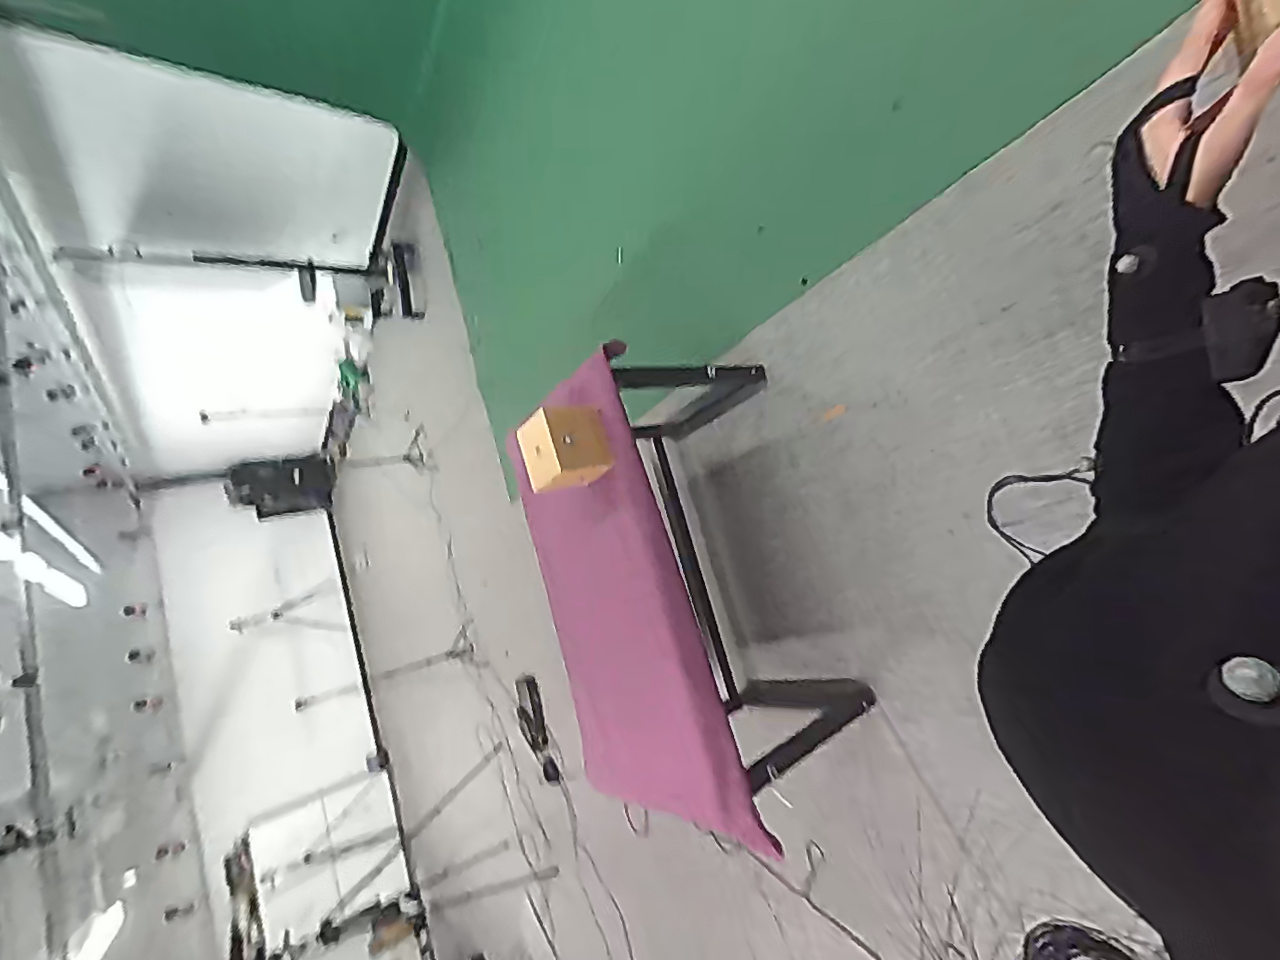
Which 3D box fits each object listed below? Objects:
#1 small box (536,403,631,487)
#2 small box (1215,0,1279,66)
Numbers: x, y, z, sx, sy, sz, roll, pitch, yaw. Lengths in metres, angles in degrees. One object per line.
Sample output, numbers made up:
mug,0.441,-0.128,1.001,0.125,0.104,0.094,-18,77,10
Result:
small box,-0.151,-0.097,1.454,0.168,0.176,0.179,-31,75,51
small box,0.418,-0.369,0.289,0.168,0.176,0.179,-22,97,48
